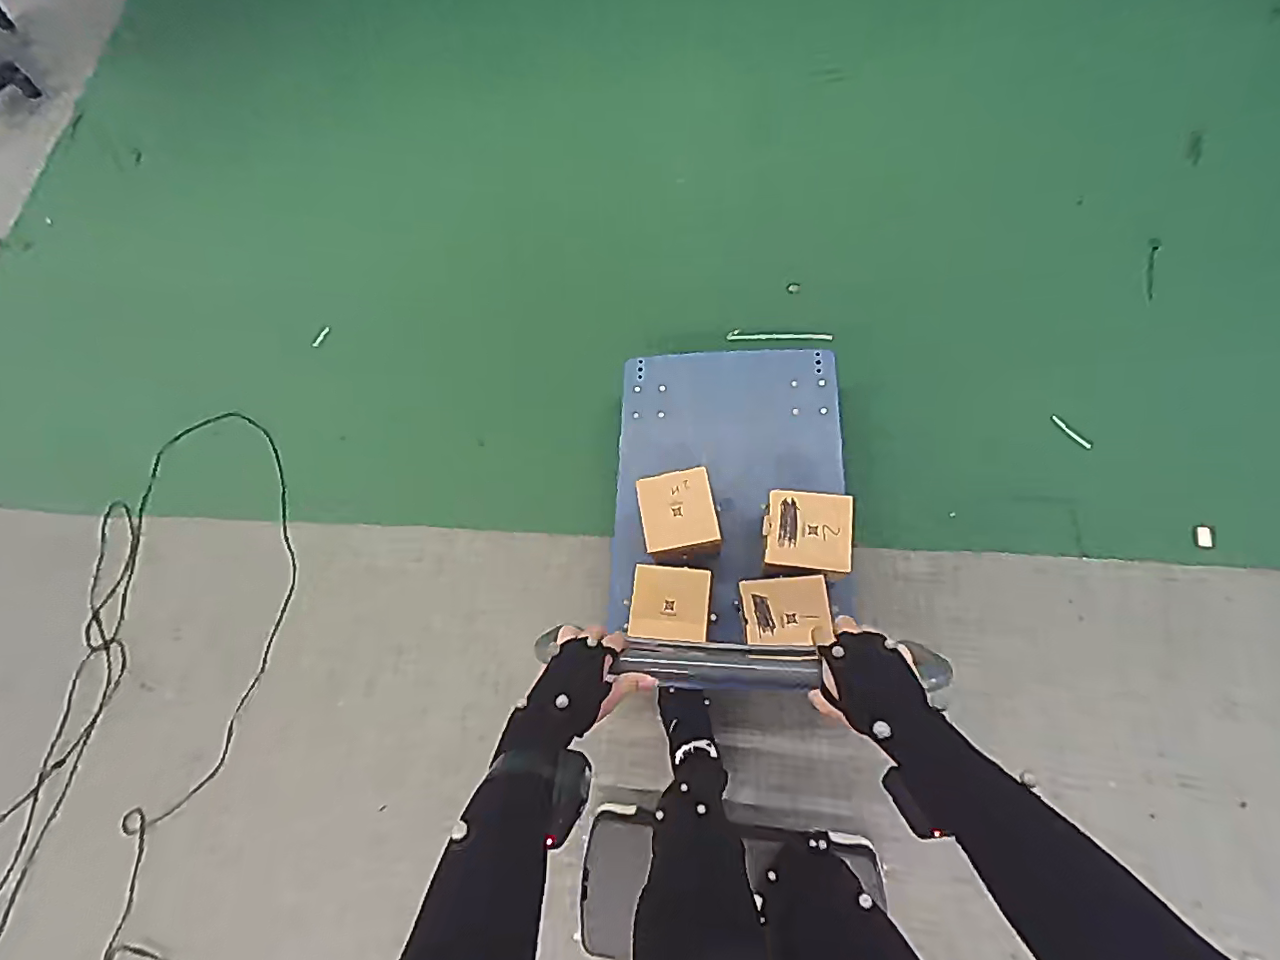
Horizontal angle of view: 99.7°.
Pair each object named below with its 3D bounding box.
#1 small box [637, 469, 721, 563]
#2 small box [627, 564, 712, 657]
[{"bbox_3d":[0.097,0.093,1.278,0.168,0.176,0.179,-11,70,5],"label":"small box"},{"bbox_3d":[0.073,0.298,1.216,0.168,0.176,0.179,4,72,10],"label":"small box"}]
